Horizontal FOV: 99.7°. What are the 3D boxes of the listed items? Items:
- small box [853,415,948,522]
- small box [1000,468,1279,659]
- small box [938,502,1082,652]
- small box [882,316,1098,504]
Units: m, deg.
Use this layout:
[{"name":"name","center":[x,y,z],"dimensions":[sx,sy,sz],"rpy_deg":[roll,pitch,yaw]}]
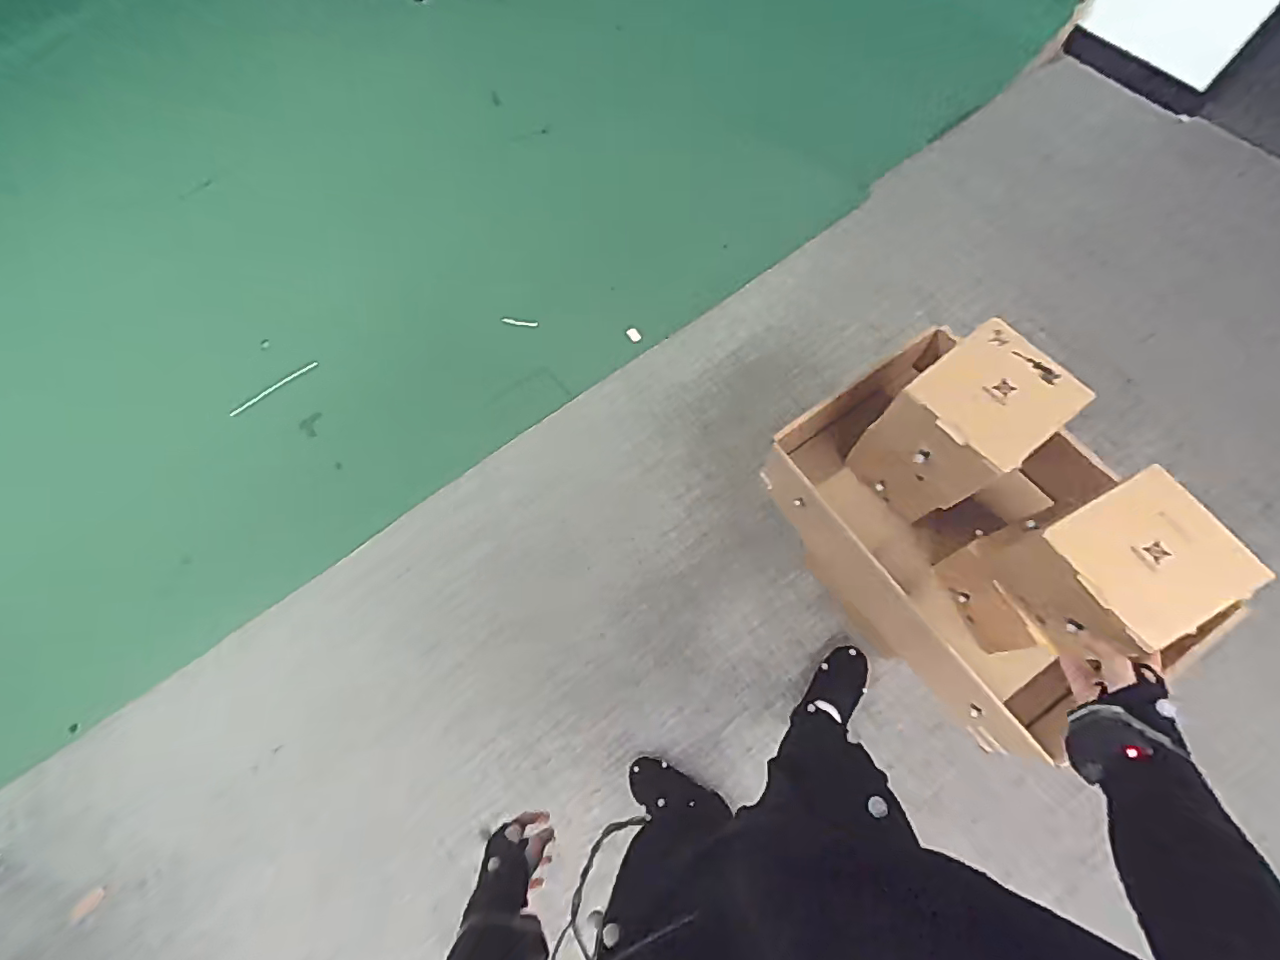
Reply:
[{"name":"small box","center":[0.502,-0.053,0.937],"dimensions":[0.179,0.176,0.168],"rpy_deg":[-38,72,-6]},{"name":"small box","center":[0.608,0.117,0.695],"dimensions":[0.179,0.176,0.168],"rpy_deg":[-29,70,-3]},{"name":"small box","center":[0.618,0.159,0.853],"dimensions":[0.179,0.176,0.168],"rpy_deg":[-25,69,-1]},{"name":"small box","center":[0.478,-0.089,0.778],"dimensions":[0.179,0.176,0.168],"rpy_deg":[-38,72,-6]}]
